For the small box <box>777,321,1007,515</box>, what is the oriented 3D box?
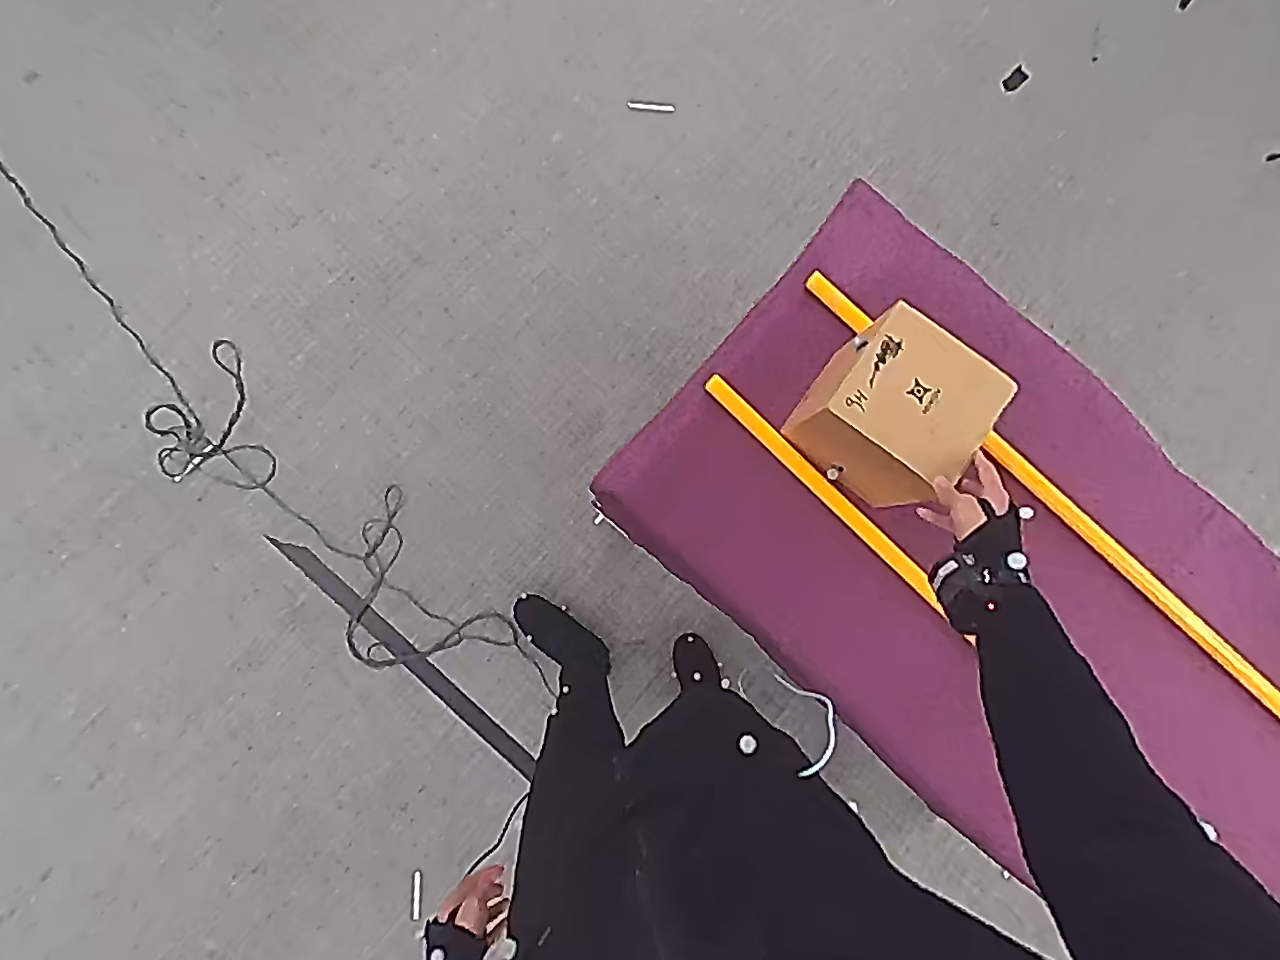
[{"bbox_3d":[0.315,-0.069,0.711,0.179,0.176,0.168,37,82,0],"label":"small box"}]
